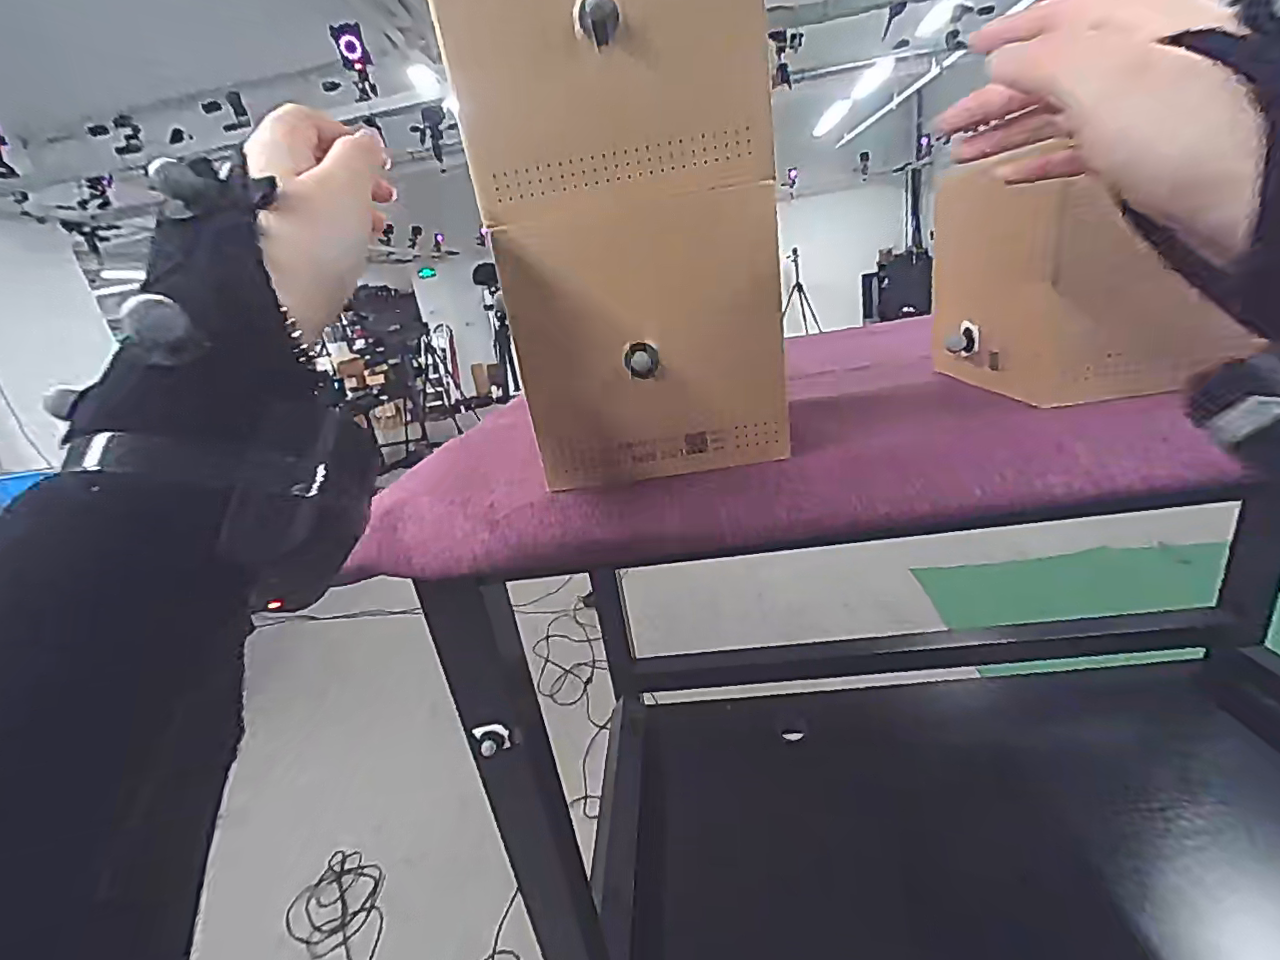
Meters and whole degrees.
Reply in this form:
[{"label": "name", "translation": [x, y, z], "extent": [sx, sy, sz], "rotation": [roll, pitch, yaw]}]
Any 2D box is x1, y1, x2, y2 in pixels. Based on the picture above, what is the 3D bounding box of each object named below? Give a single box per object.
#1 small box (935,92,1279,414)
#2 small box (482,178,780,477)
[{"label": "small box", "translation": [0.343, -0.159, 0.402], "extent": [0.179, 0.176, 0.168], "rotation": [-10, 20, 5]}, {"label": "small box", "translation": [0.003, -0.107, 0.406], "extent": [0.168, 0.176, 0.179], "rotation": [-7, 21, 4]}]
